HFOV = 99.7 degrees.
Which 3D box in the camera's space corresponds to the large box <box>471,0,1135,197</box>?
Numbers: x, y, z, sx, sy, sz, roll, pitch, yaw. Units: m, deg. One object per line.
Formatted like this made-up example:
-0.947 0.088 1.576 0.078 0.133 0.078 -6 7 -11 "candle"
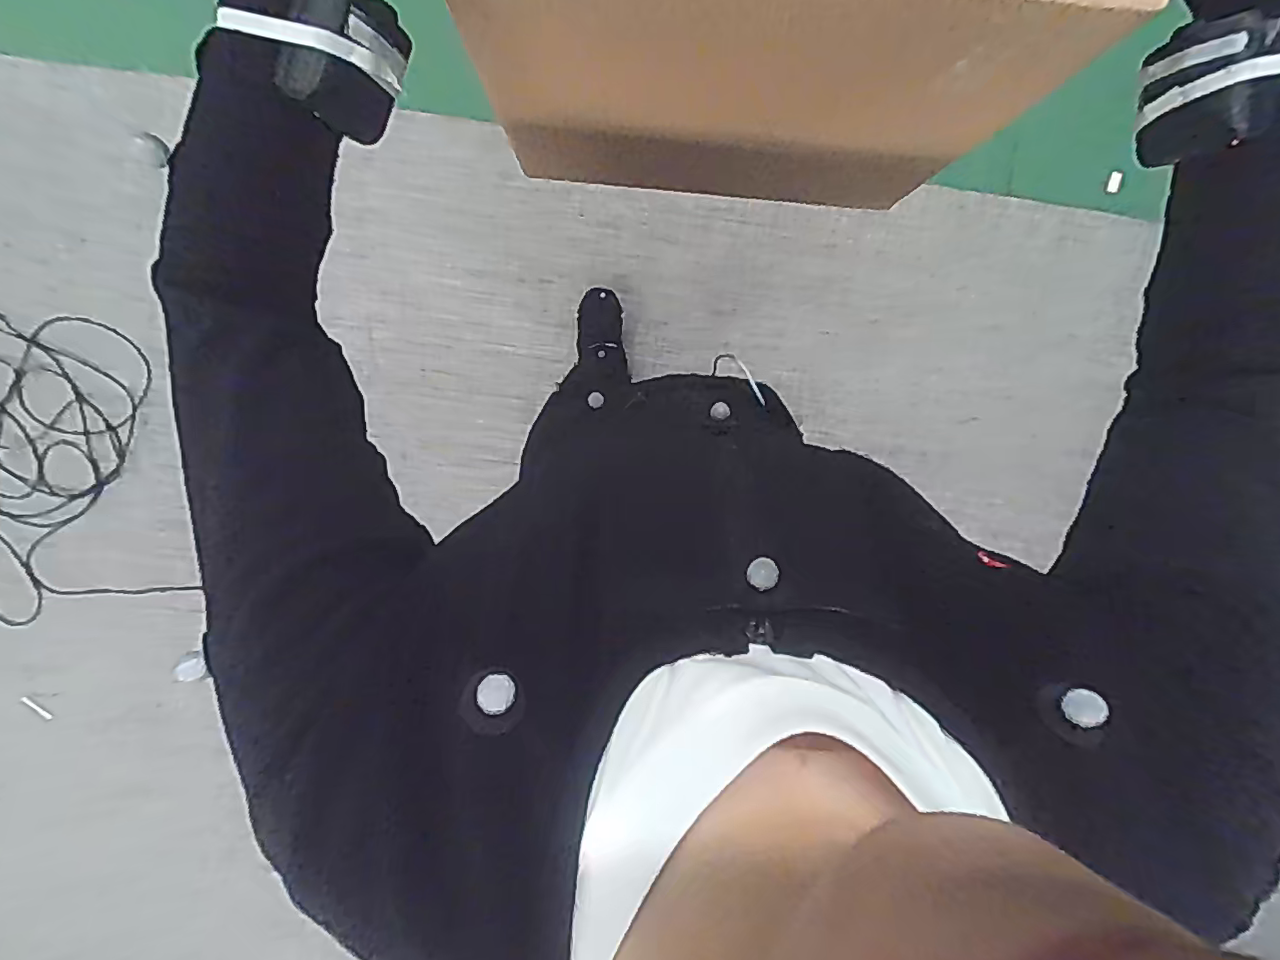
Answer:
0.091 -0.451 0.426 0.408 0.320 0.320 3 99 -3 "large box"
